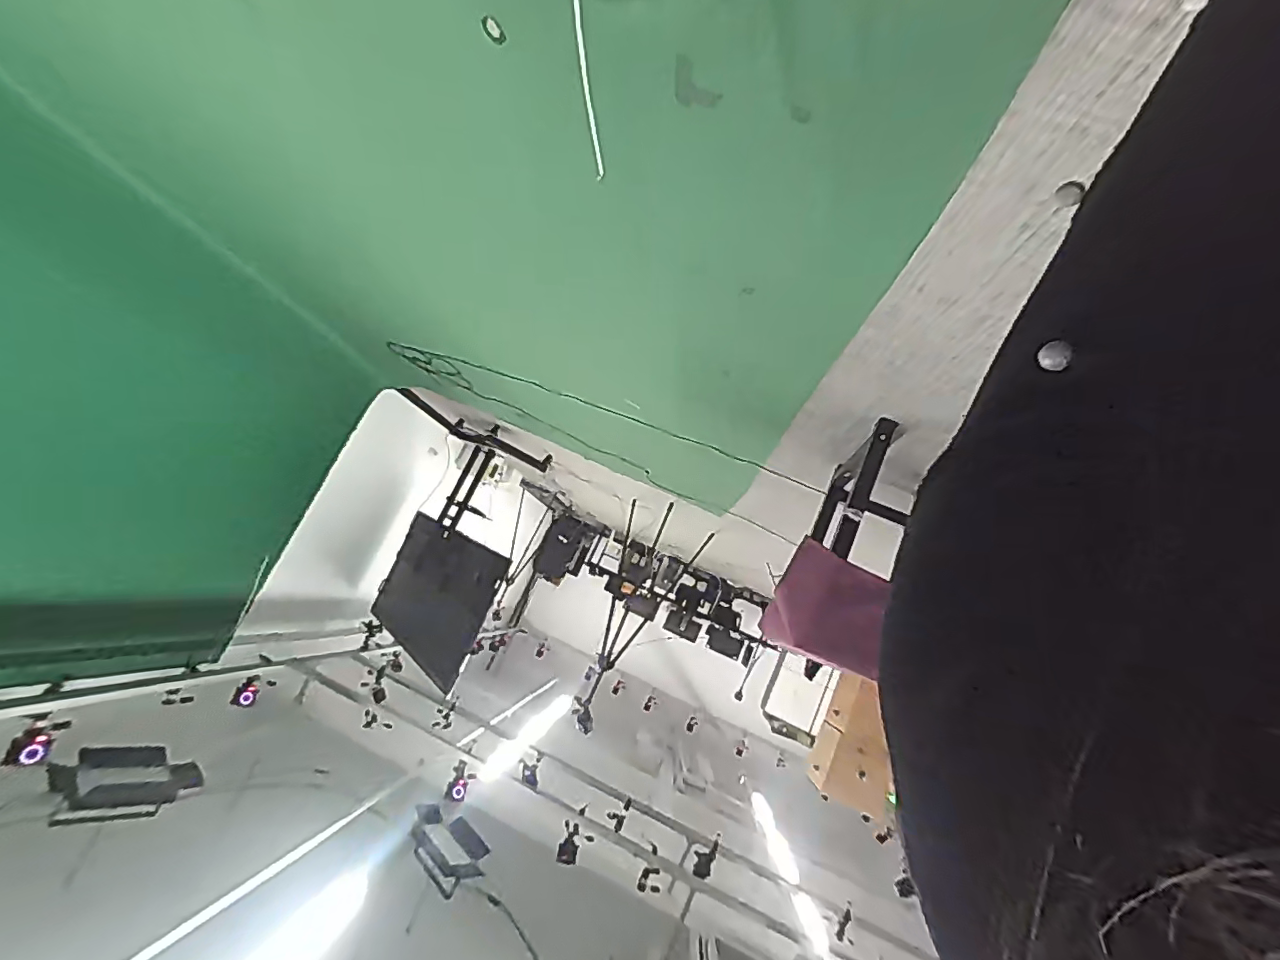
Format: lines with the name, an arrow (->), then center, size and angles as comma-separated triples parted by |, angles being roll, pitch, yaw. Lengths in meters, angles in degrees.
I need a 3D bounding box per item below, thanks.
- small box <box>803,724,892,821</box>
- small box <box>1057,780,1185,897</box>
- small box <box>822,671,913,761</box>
small box -> 0.589, 0.819, 1.537 | 0.168, 0.176, 0.179 | 24, 169, 7
small box -> 1.268, 0.933, 1.426 | 0.179, 0.176, 0.168 | 25, 169, 7
small box -> 0.659, 0.673, 1.569 | 0.168, 0.176, 0.179 | 24, 168, 6
